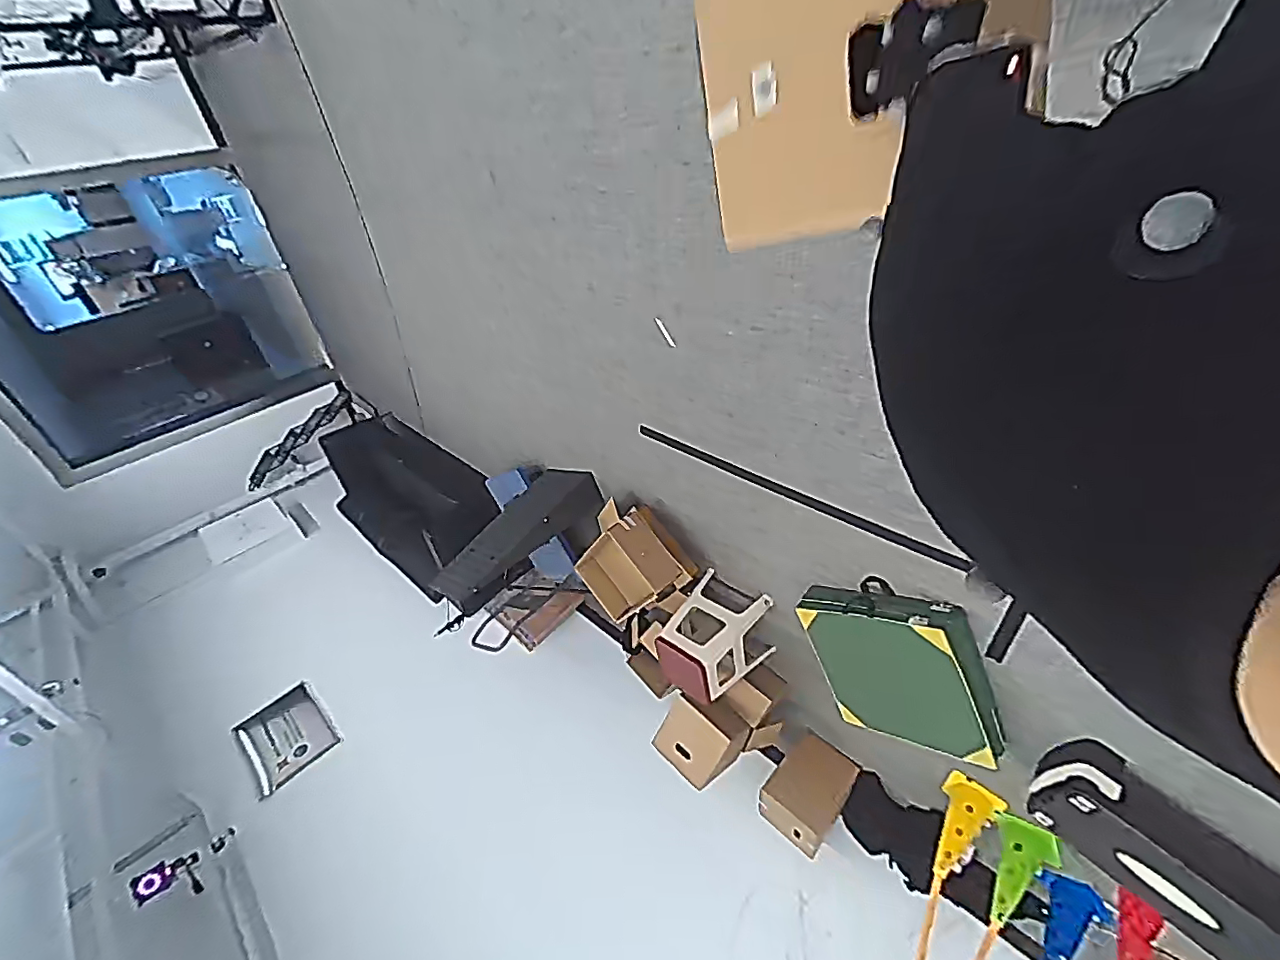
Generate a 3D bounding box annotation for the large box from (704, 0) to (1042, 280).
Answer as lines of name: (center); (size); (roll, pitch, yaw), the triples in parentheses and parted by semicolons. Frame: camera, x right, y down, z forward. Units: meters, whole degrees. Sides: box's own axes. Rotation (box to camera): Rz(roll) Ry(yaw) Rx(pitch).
large box: (0.352, -0.509, 0.788); (0.320, 0.408, 0.320); (8, 120, 44)
